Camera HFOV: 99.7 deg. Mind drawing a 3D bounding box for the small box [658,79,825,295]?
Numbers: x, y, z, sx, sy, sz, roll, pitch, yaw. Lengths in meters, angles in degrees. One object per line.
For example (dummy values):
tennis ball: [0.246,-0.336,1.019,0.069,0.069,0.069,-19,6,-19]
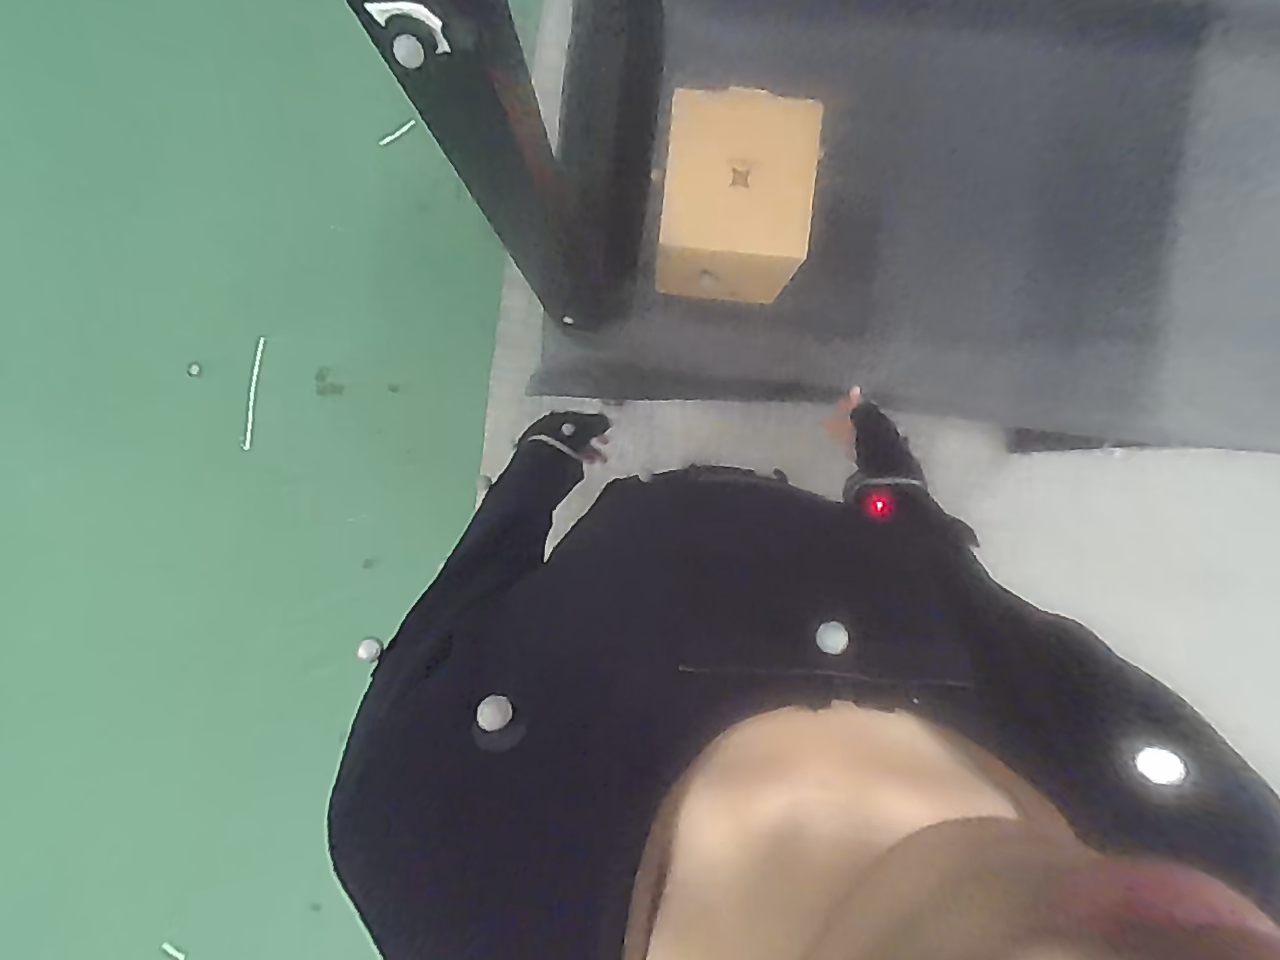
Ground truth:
small box: [0.112,-0.342,0.666,0.168,0.176,0.179,5,91,1]
